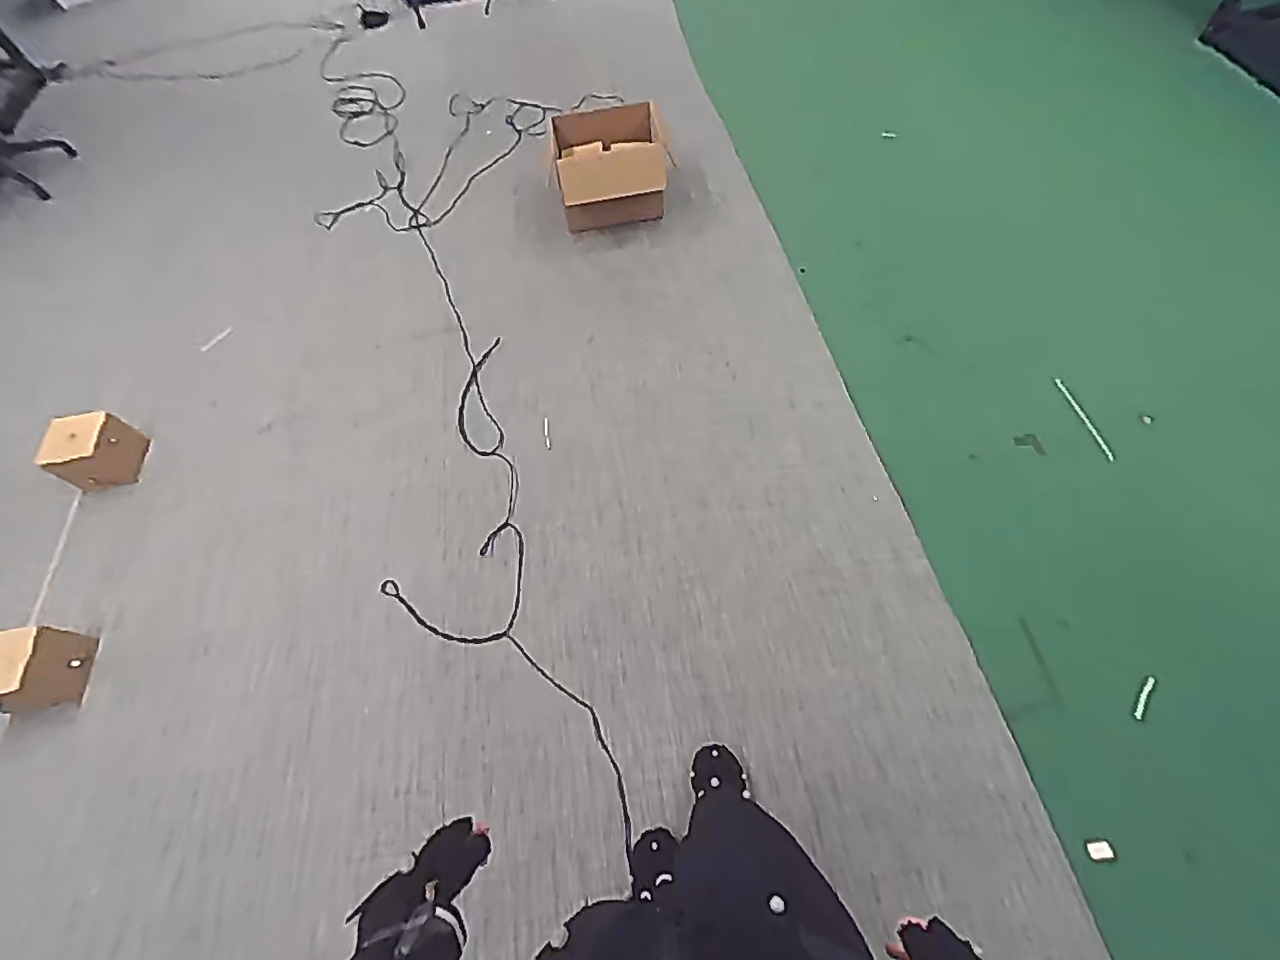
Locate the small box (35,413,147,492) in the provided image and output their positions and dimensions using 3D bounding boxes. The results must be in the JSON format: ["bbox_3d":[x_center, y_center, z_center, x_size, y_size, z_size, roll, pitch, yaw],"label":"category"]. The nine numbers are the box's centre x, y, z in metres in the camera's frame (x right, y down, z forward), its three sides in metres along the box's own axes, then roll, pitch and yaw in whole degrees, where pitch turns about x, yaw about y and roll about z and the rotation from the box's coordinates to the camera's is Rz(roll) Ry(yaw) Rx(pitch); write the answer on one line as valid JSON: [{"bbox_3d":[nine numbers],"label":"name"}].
[{"bbox_3d":[-1.729,-0.085,1.717,0.168,0.176,0.179,-11,62,-3],"label":"small box"}]

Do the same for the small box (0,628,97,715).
[{"bbox_3d":[-1.577,0.495,1.385,0.179,0.176,0.168,-12,61,-3],"label":"small box"}]
